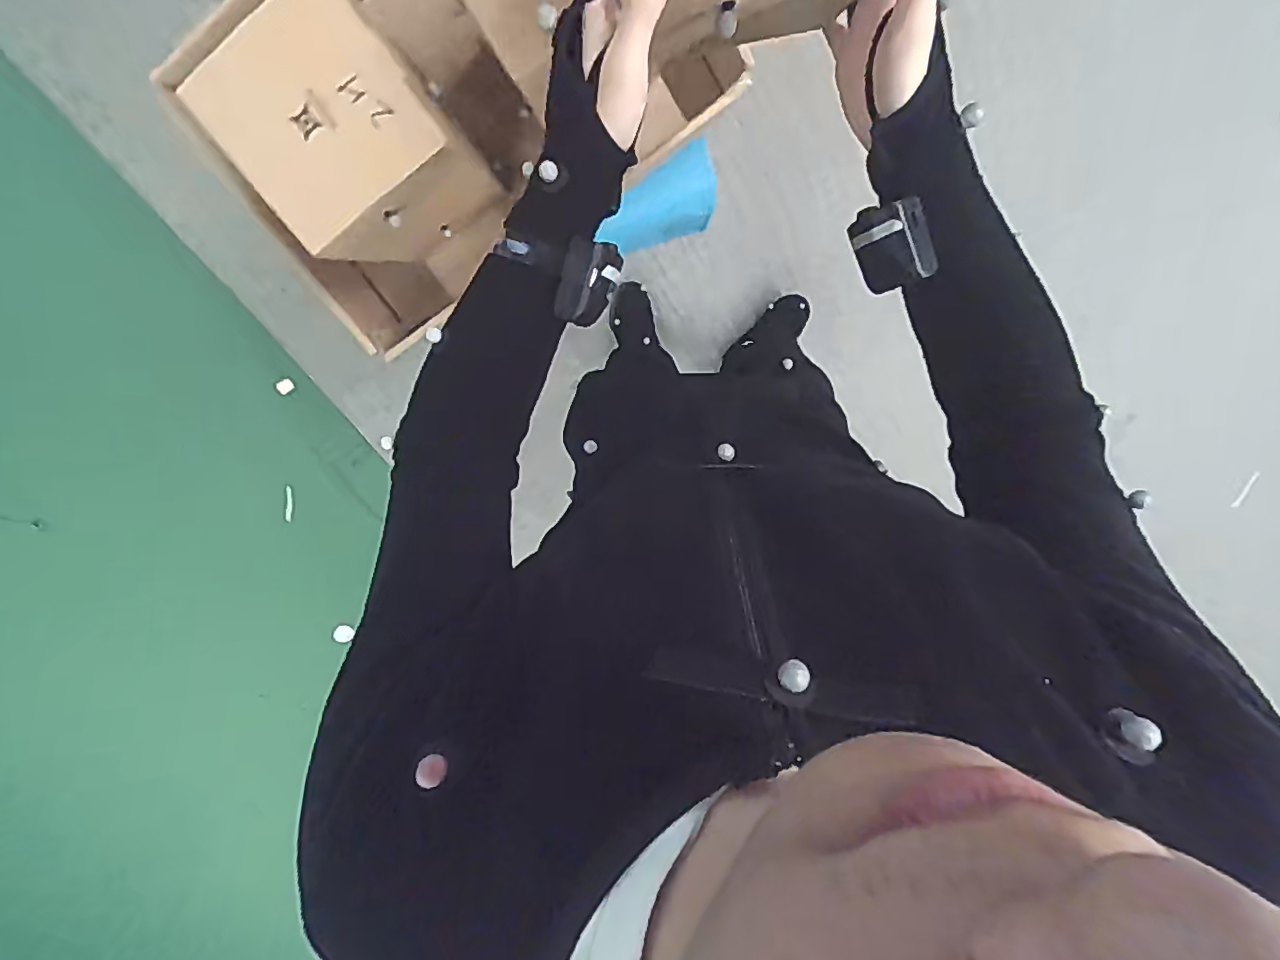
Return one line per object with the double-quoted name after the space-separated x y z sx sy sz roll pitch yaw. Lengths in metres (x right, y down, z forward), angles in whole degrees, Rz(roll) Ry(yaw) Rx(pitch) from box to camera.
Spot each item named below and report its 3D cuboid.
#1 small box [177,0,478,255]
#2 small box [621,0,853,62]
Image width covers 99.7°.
-0.298 -0.354 0.562 0.179 0.176 0.168 -33 109 9 "small box"
0.065 -0.397 0.345 0.179 0.176 0.168 -7 116 3 "small box"
